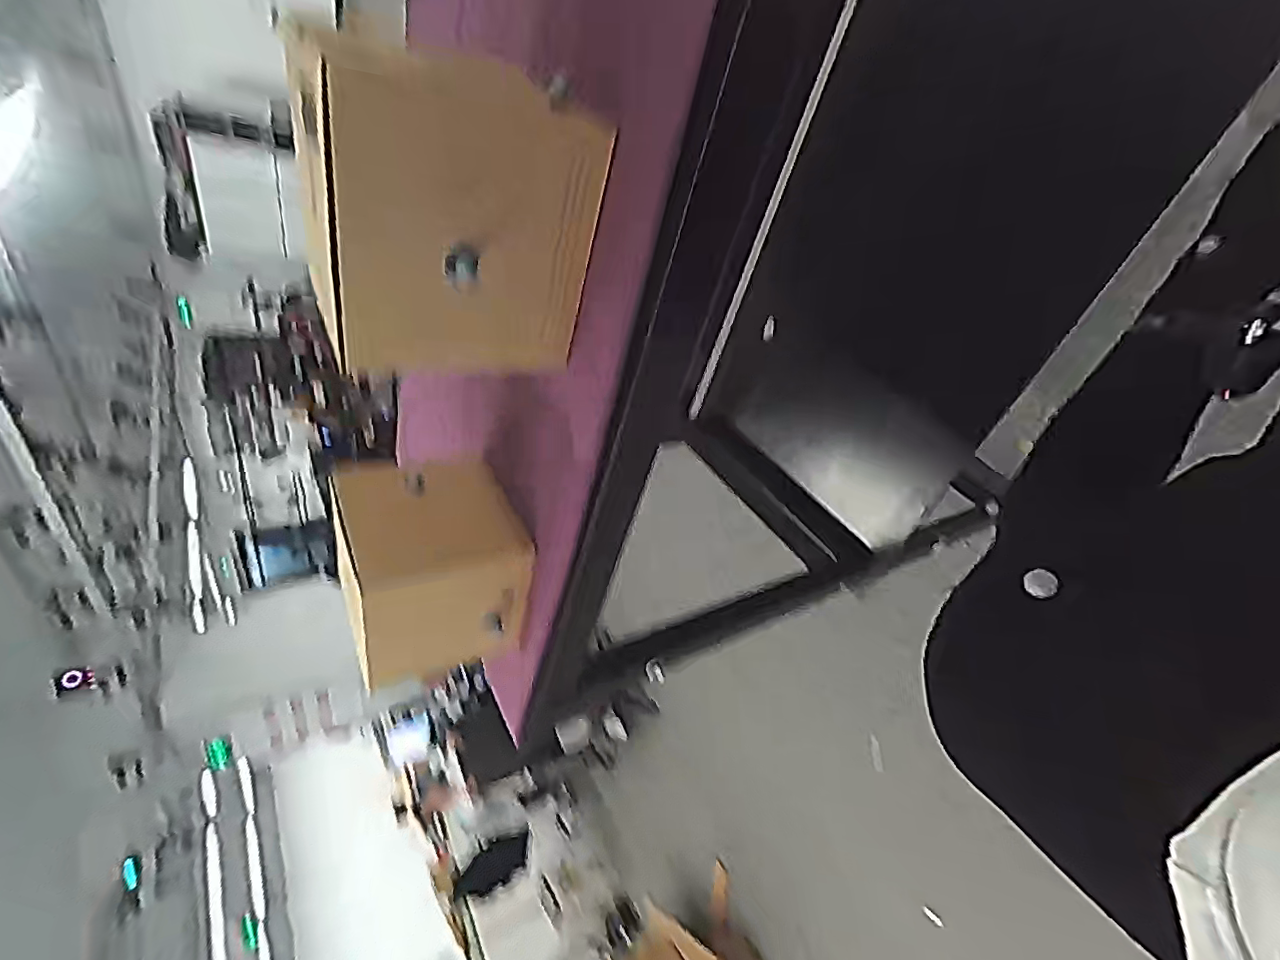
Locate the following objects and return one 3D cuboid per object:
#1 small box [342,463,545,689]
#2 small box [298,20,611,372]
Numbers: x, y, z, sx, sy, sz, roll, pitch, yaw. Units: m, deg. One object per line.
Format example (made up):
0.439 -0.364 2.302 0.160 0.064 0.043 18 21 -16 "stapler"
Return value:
-0.226 0.094 0.611 0.179 0.176 0.168 49 136 38 "small box"
-0.139 -0.200 0.406 0.168 0.176 0.179 53 139 37 "small box"
